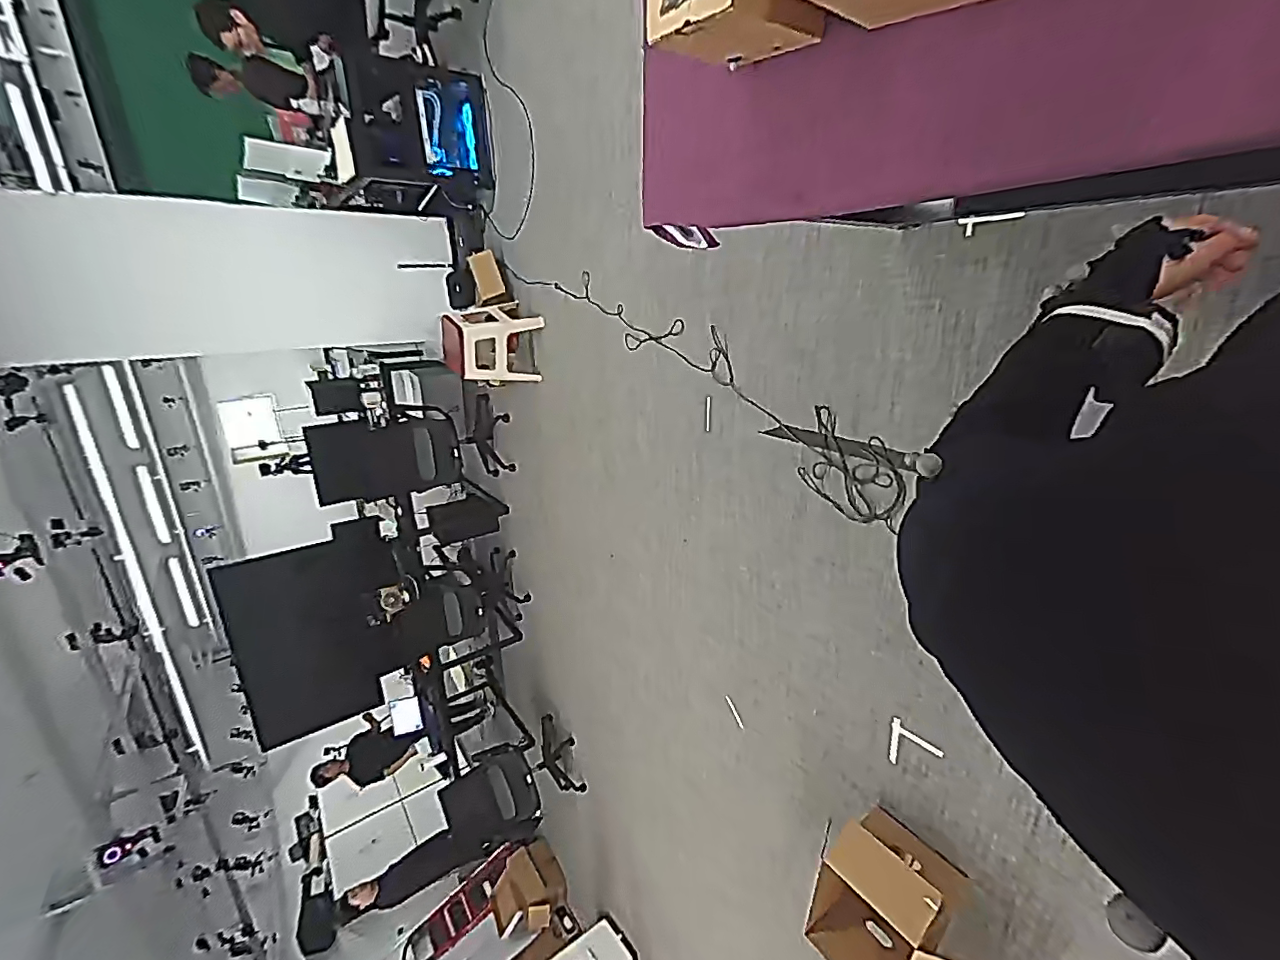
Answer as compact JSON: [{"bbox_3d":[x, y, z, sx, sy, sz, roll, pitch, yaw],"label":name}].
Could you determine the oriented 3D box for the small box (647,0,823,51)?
[{"bbox_3d":[0.125,-0.666,0.675,0.168,0.176,0.179,30,127,47],"label":"small box"}]
